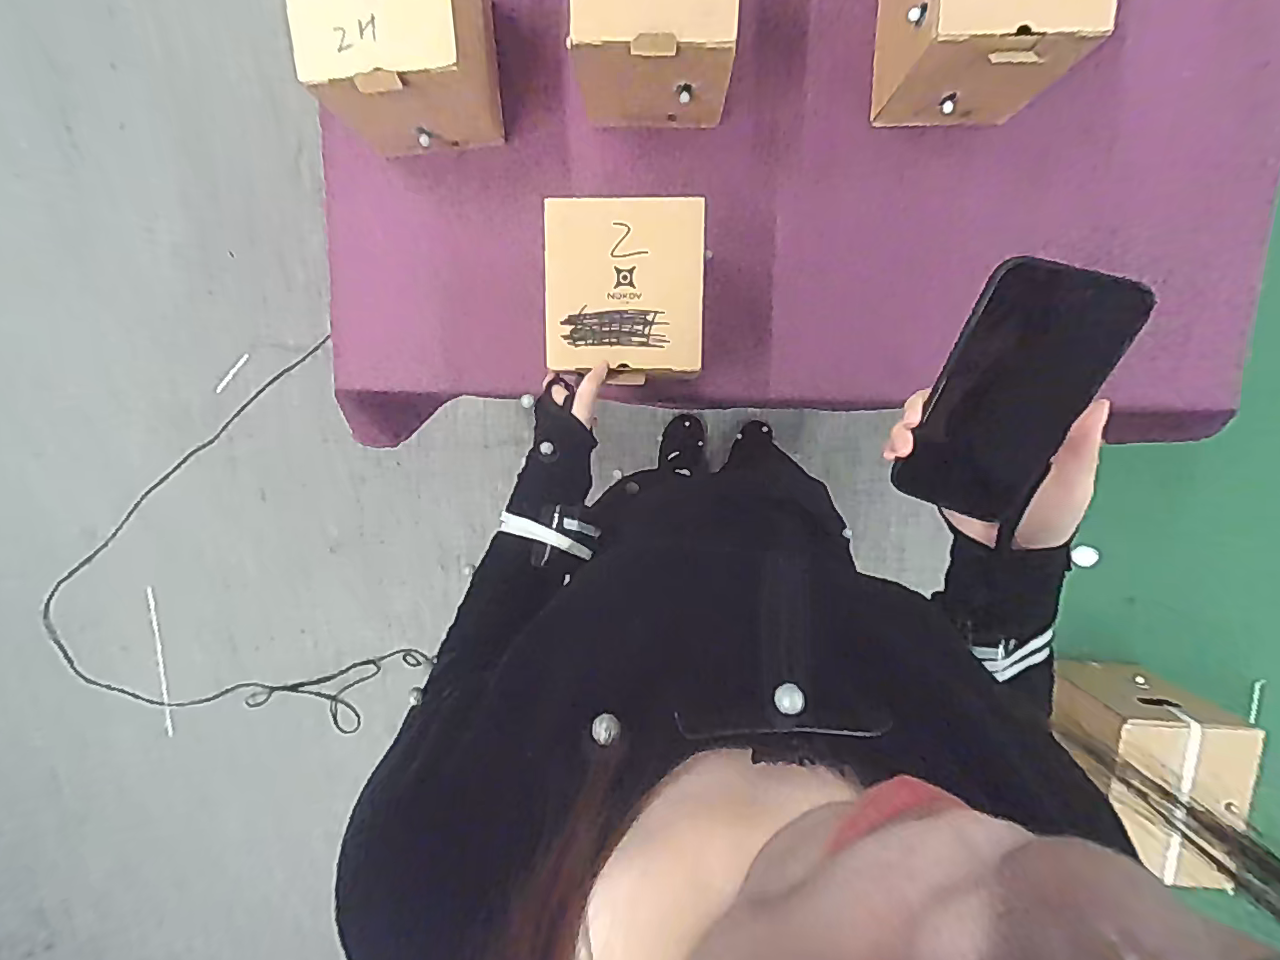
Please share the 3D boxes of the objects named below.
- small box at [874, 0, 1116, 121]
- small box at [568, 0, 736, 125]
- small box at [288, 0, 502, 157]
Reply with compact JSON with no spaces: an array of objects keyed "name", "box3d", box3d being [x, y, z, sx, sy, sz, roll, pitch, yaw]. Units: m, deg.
[{"name":"small box","box3d":[0.365,-0.521,0.578,0.168,0.176,0.179,0,99,3]},{"name":"small box","box3d":[0.017,-0.521,0.594,0.168,0.176,0.179,2,98,1]},{"name":"small box","box3d":[-0.264,-0.498,0.608,0.168,0.176,0.179,-4,98,3]}]
